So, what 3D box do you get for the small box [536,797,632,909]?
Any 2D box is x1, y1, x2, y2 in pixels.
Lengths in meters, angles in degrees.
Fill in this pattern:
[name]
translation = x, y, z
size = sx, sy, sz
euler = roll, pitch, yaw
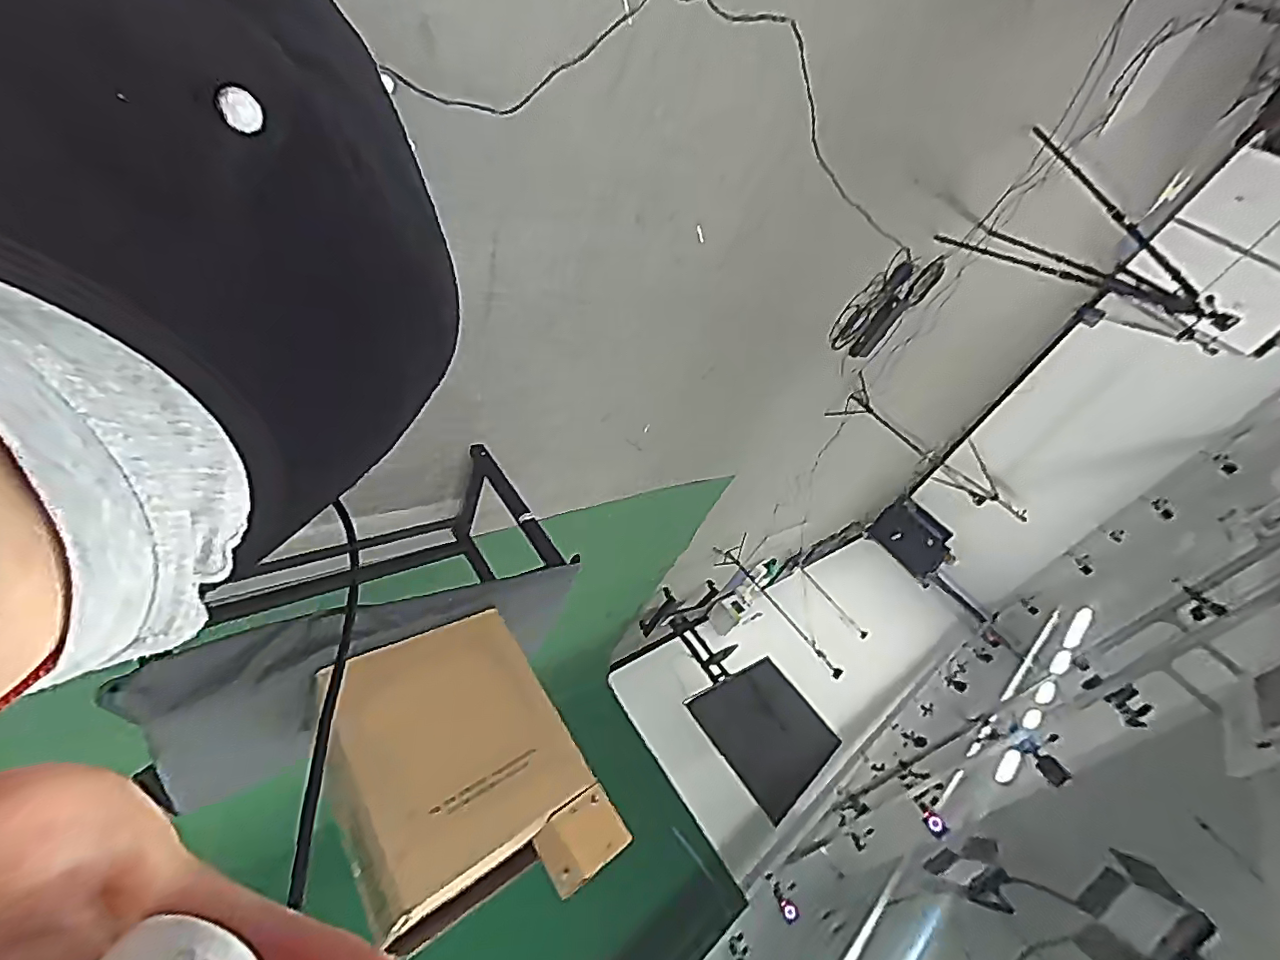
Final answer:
[small box]
translation = -0.158, 0.997, 1.462
size = 0.168, 0.176, 0.179
euler = -12, 142, -45
